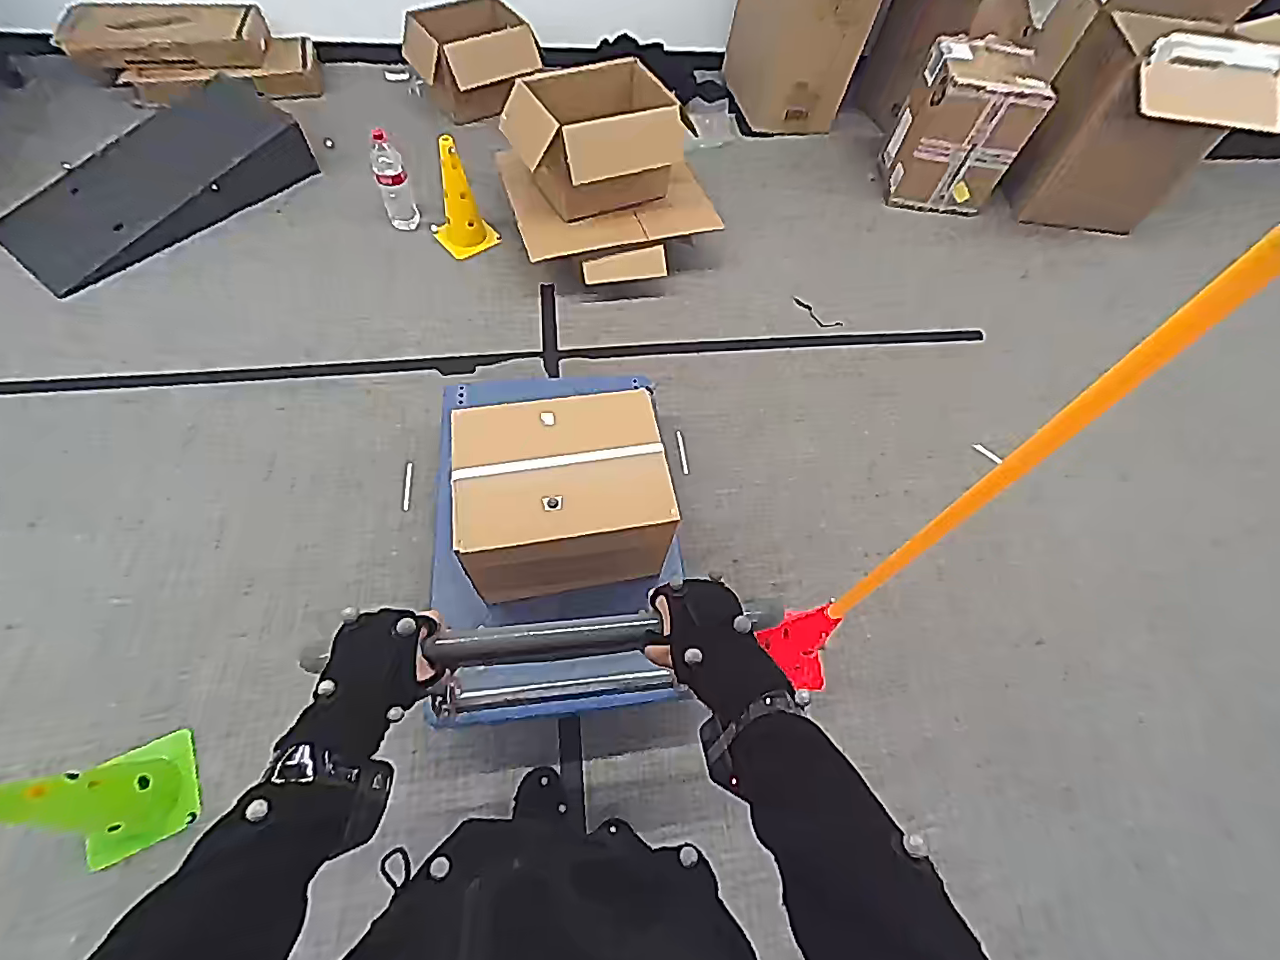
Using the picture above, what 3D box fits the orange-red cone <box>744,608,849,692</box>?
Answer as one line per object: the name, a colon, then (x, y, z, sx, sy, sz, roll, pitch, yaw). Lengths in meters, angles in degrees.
orange-red cone: (0.382, 0.353, 1.222, 0.199, 0.360, 0.198, 2, 61, -5)
